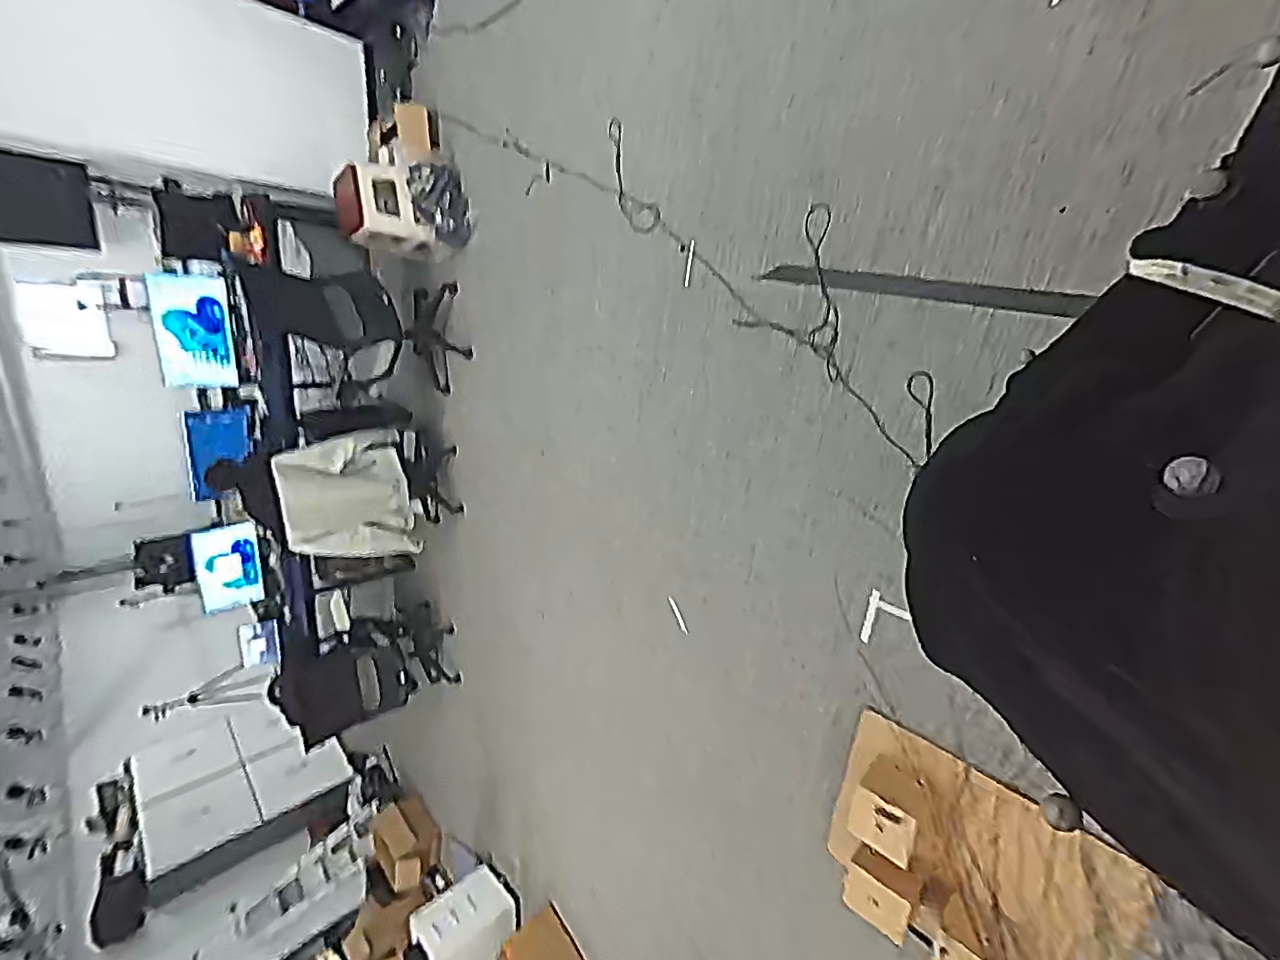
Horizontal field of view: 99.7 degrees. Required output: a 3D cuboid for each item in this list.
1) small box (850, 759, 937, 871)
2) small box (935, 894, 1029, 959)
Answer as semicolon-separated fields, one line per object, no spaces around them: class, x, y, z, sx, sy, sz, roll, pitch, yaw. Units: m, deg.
small box;0.727;0.947;1.547;0.168;0.176;0.179;18;112;41
small box;0.908;1.268;1.439;0.179;0.176;0.168;17;111;41
